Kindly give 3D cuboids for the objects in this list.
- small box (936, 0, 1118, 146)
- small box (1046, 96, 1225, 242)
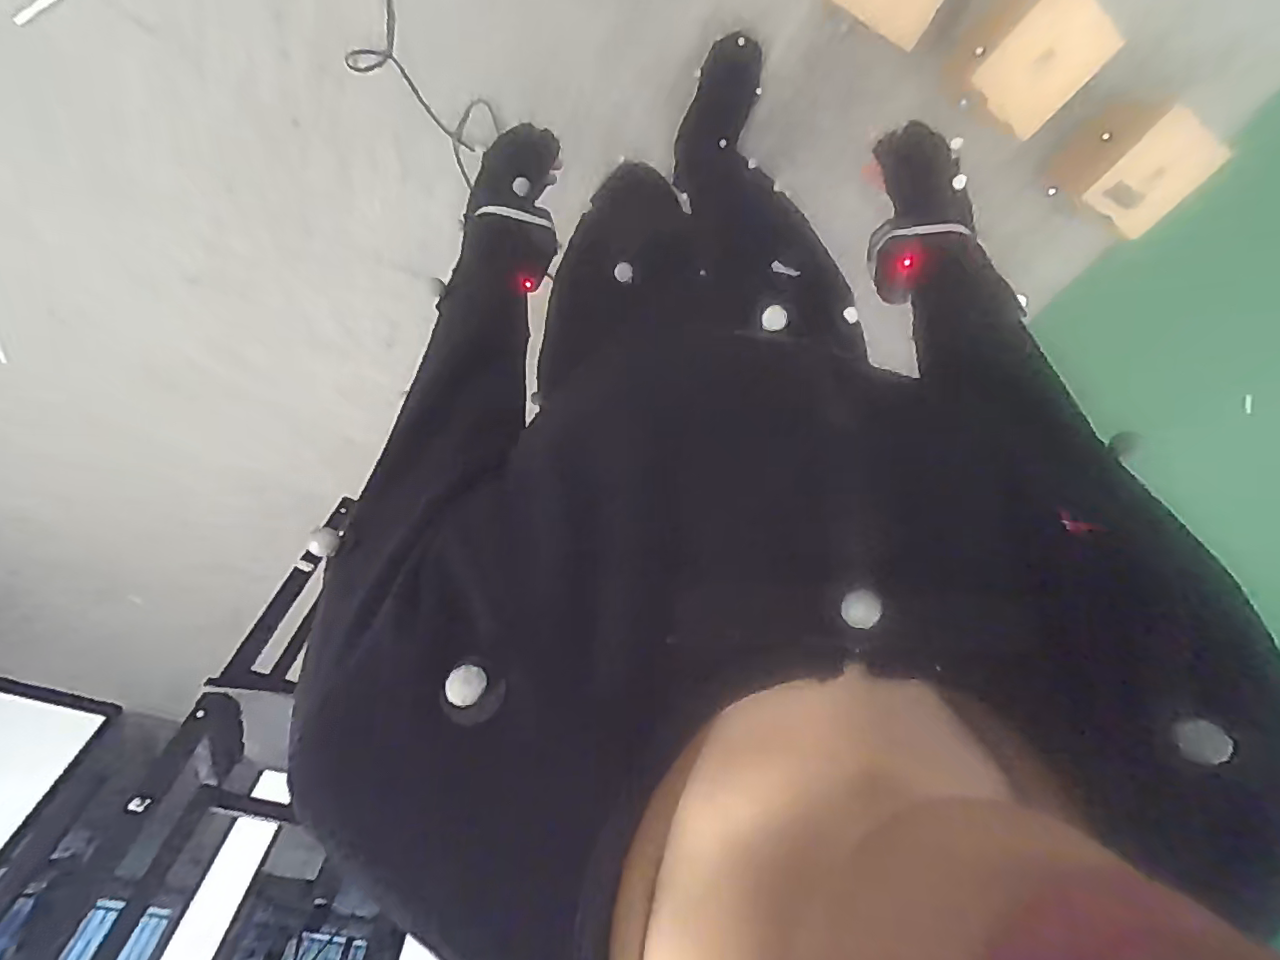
[{"bbox_3d":[0.675,-0.746,0.965,0.168,0.176,0.179,28,128,-19],"label":"small box"},{"bbox_3d":[0.948,-0.611,1.060,0.168,0.176,0.179,24,128,-16],"label":"small box"}]
